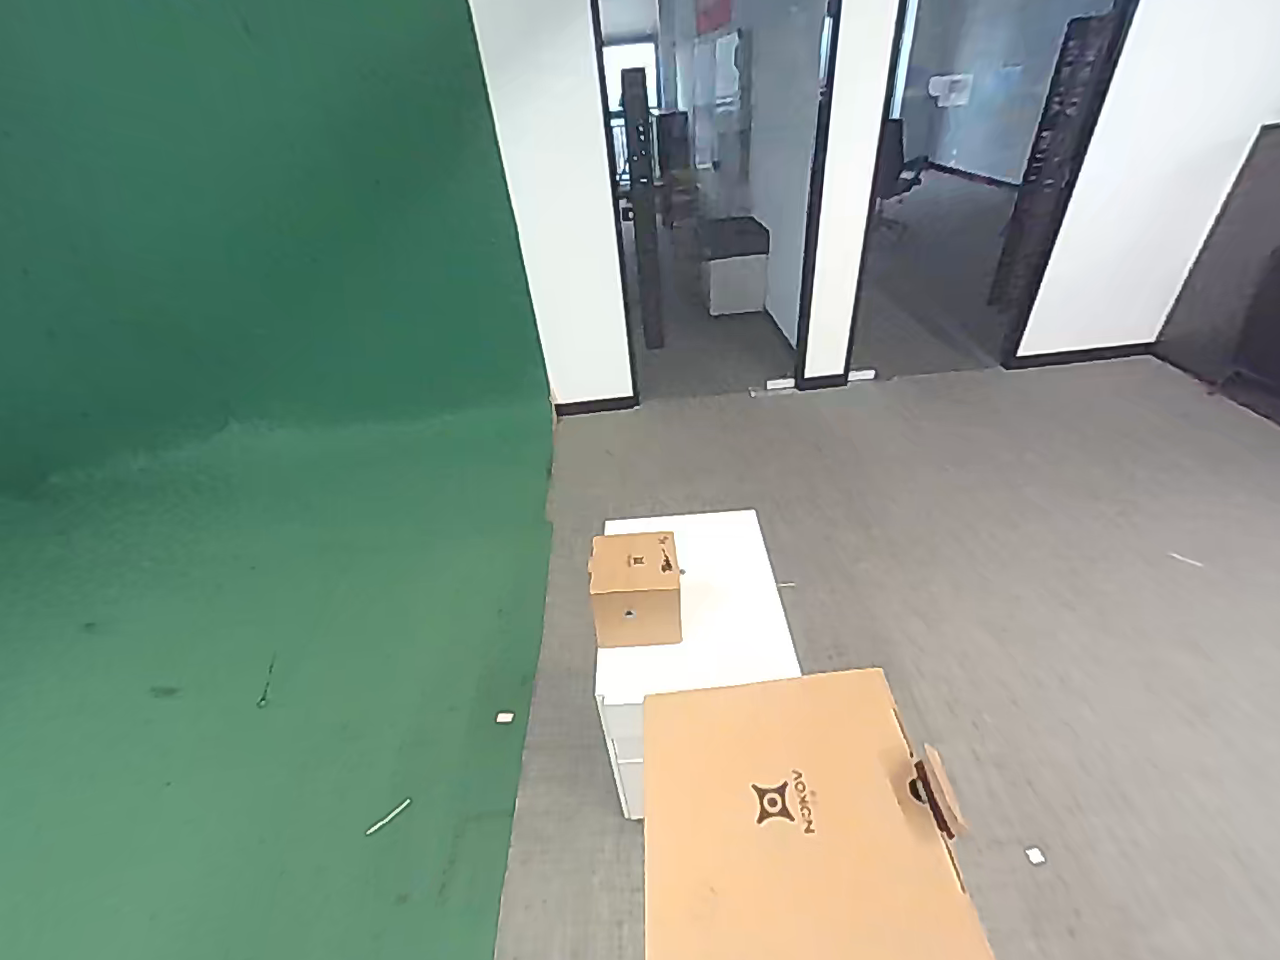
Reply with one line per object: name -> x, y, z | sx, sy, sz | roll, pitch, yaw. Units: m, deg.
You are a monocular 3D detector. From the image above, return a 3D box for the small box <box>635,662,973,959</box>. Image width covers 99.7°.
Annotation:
small box -> 0.101, 0.258, 0.387 | 0.179, 0.176, 0.168 | -10, 37, 8

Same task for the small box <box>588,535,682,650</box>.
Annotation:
small box -> -0.007, 0.236, 1.125 | 0.179, 0.176, 0.168 | -4, 36, 2
